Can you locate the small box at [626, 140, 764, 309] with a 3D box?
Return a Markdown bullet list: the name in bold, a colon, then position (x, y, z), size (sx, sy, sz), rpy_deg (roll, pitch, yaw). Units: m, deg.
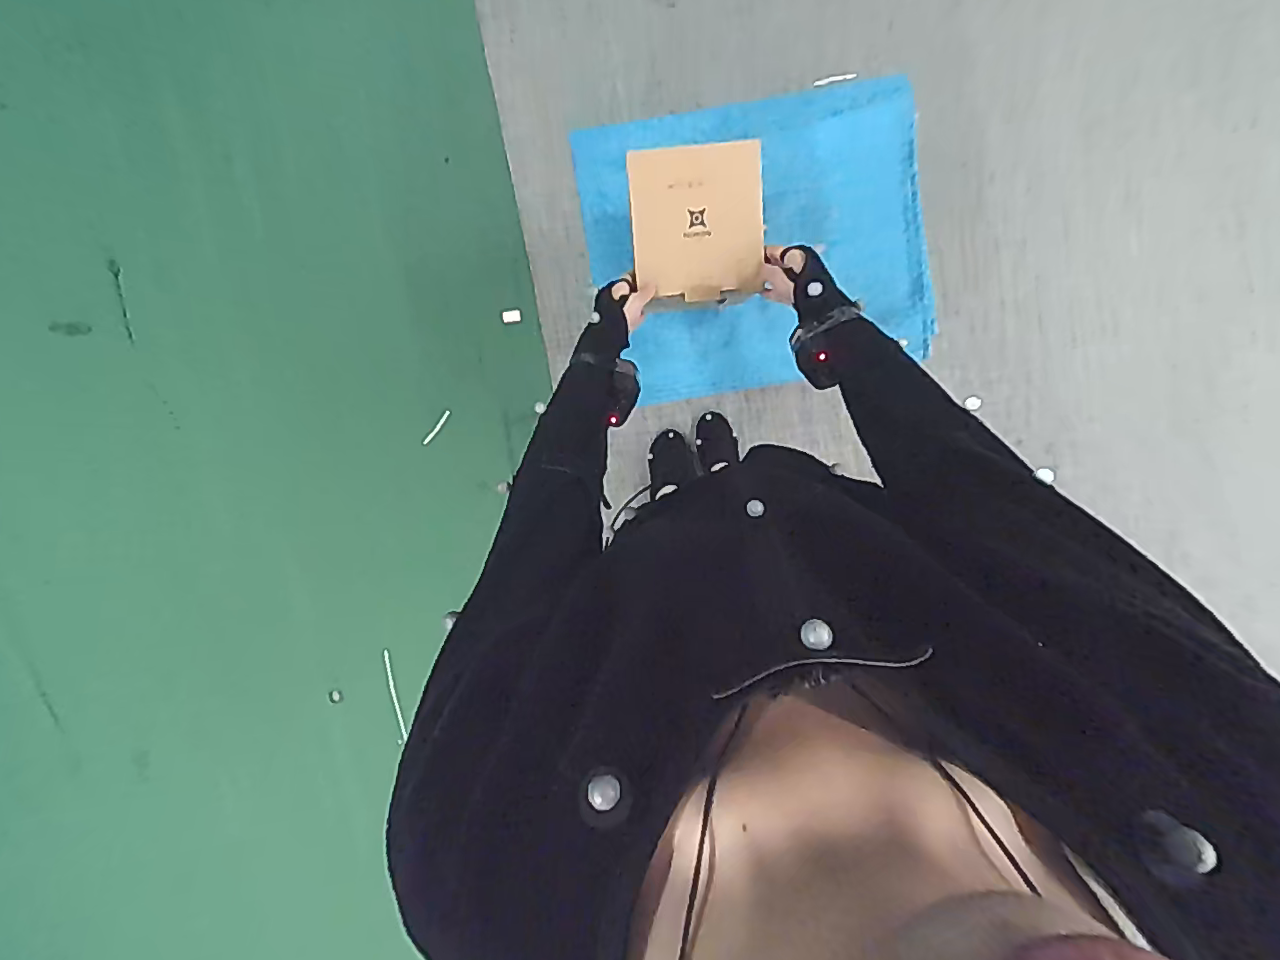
- **small box**: position (0.071, -0.333, 0.743), size (0.168, 0.176, 0.179), rpy_deg (-4, 101, 1)
